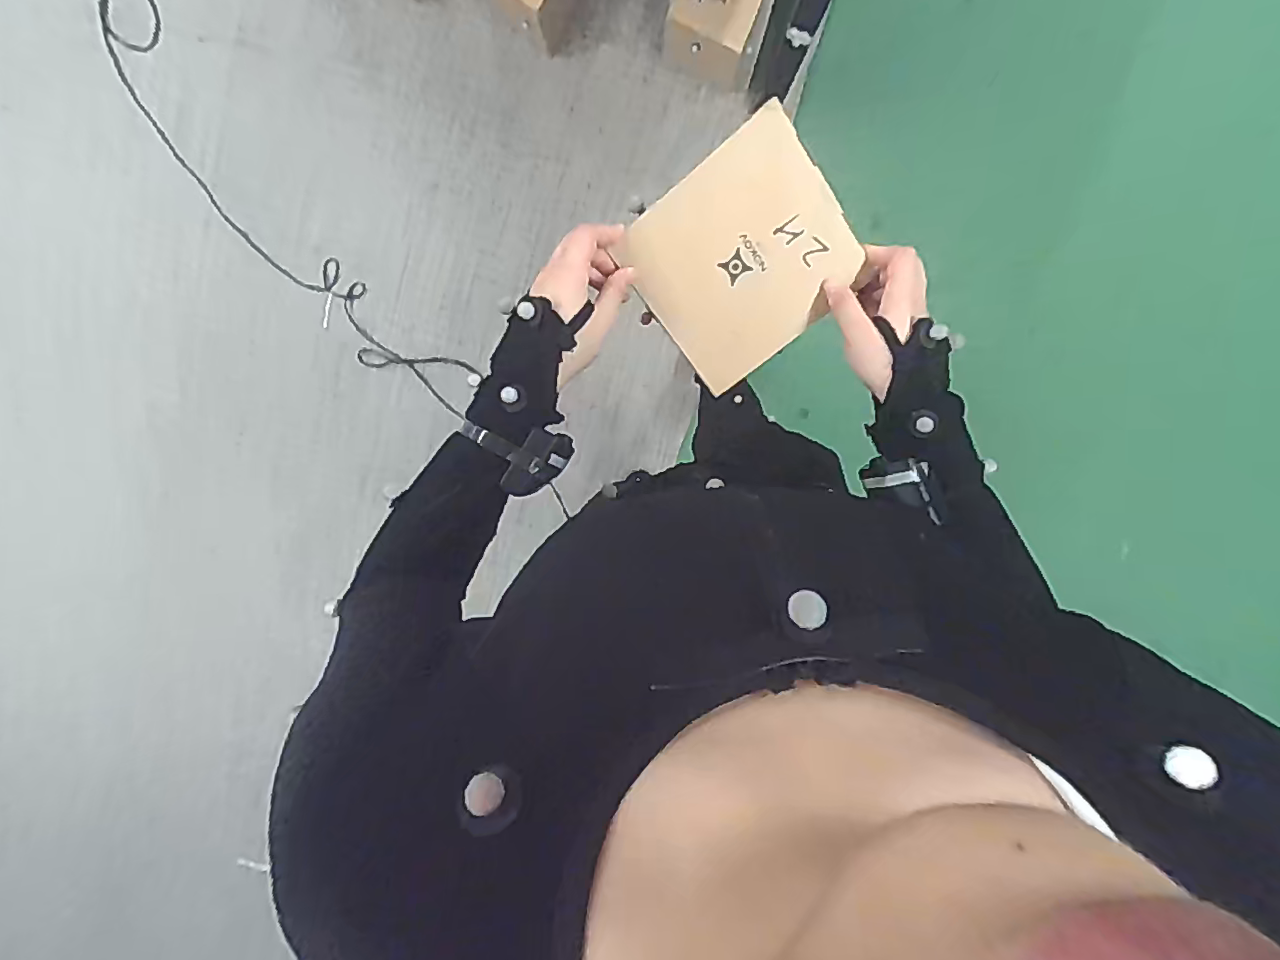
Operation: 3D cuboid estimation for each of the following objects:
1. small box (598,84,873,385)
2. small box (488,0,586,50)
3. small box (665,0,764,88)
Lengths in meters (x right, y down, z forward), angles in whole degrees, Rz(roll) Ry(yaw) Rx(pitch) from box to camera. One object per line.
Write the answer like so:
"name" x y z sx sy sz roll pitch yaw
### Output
"small box" 0.079 -0.222 0.522 0.179 0.176 0.168 -37 110 12
"small box" -0.235 -1.103 1.187 0.179 0.176 0.168 37 98 -4
"small box" 0.162 -1.018 1.194 0.179 0.176 0.168 22 100 -4
